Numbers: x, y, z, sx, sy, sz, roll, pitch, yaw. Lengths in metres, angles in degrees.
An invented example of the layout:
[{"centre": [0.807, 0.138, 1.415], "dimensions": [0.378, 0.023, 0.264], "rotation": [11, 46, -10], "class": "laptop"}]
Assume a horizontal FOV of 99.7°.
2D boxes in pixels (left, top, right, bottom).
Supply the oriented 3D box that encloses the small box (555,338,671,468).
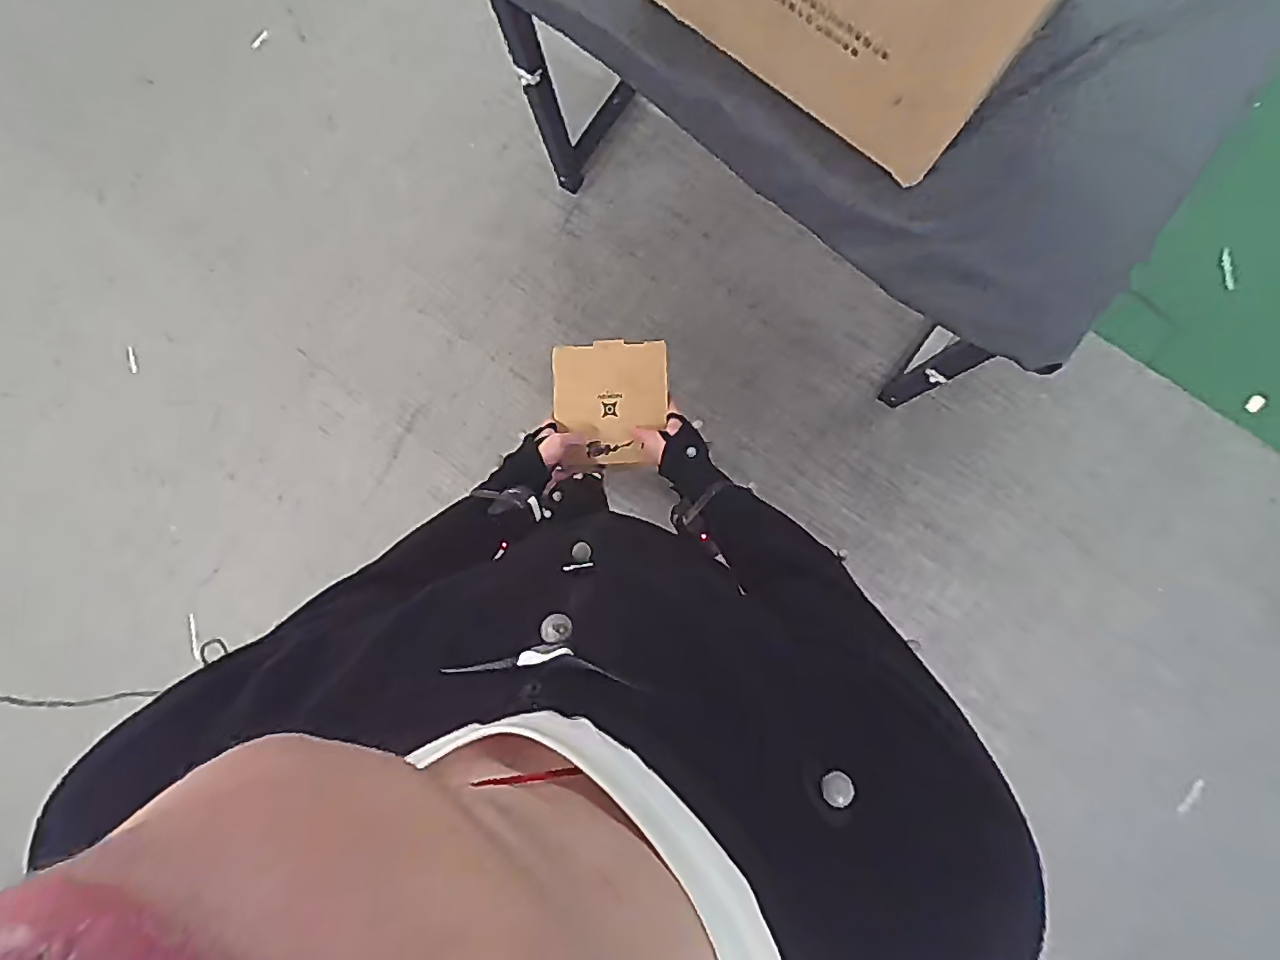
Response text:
[{"centre": [-0.036, -0.112, 0.849], "dimensions": [0.168, 0.176, 0.179], "rotation": [-1, 88, 4], "class": "small box"}]
